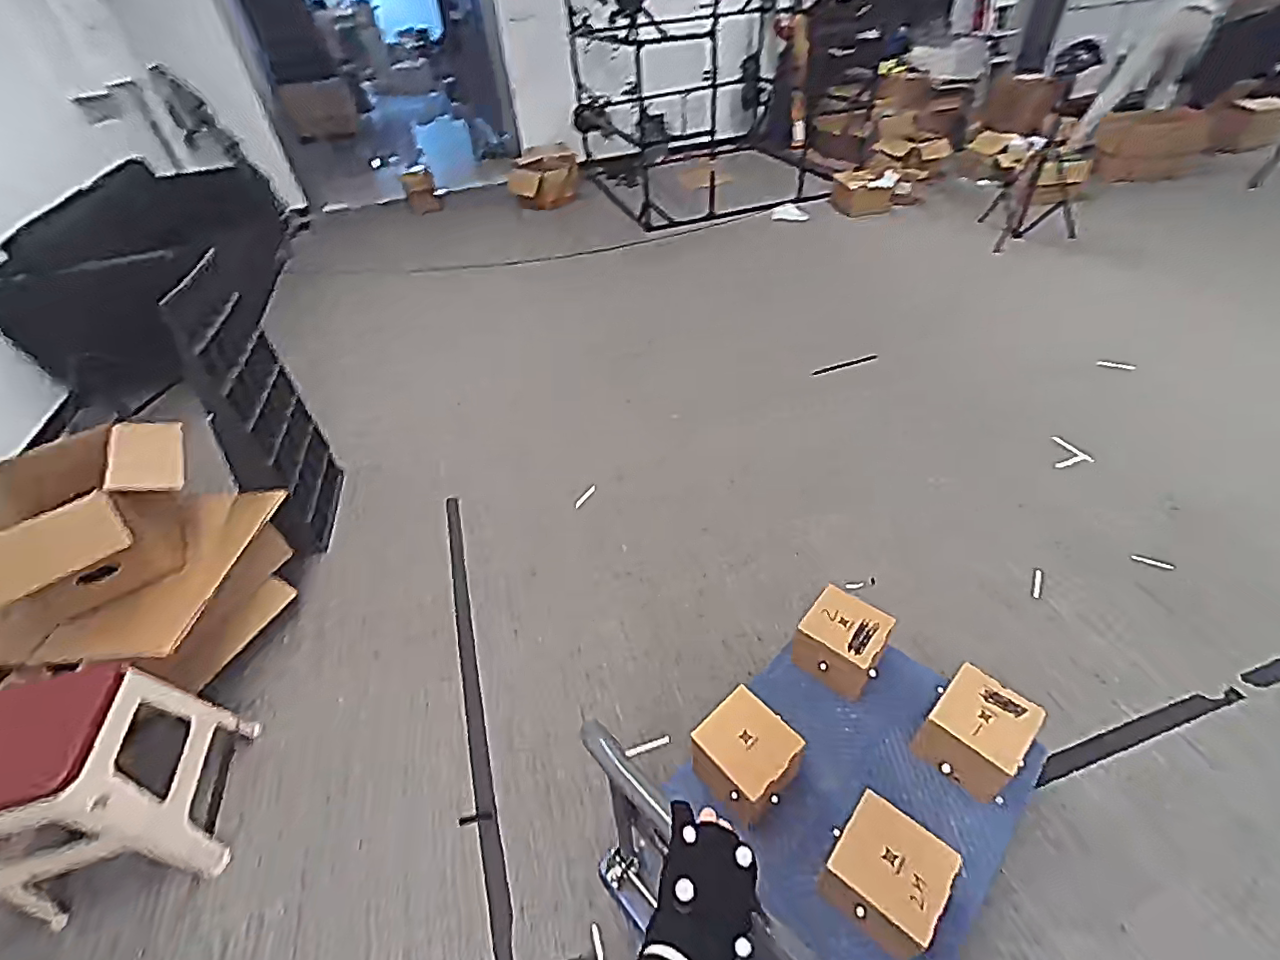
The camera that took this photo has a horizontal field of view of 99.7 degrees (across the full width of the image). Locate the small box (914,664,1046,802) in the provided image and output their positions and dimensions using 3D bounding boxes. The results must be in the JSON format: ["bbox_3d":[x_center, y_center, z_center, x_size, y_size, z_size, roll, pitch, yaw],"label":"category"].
[{"bbox_3d":[0.719,0.543,1.162,0.179,0.176,0.168,-35,49,-27],"label":"small box"}]

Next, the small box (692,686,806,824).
[{"bbox_3d":[0.227,0.594,1.165,0.168,0.176,0.179,-33,50,-27],"label":"small box"}]

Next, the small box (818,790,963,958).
[{"bbox_3d":[0.449,0.724,0.992,0.179,0.176,0.168,28,52,33],"label":"small box"}]
